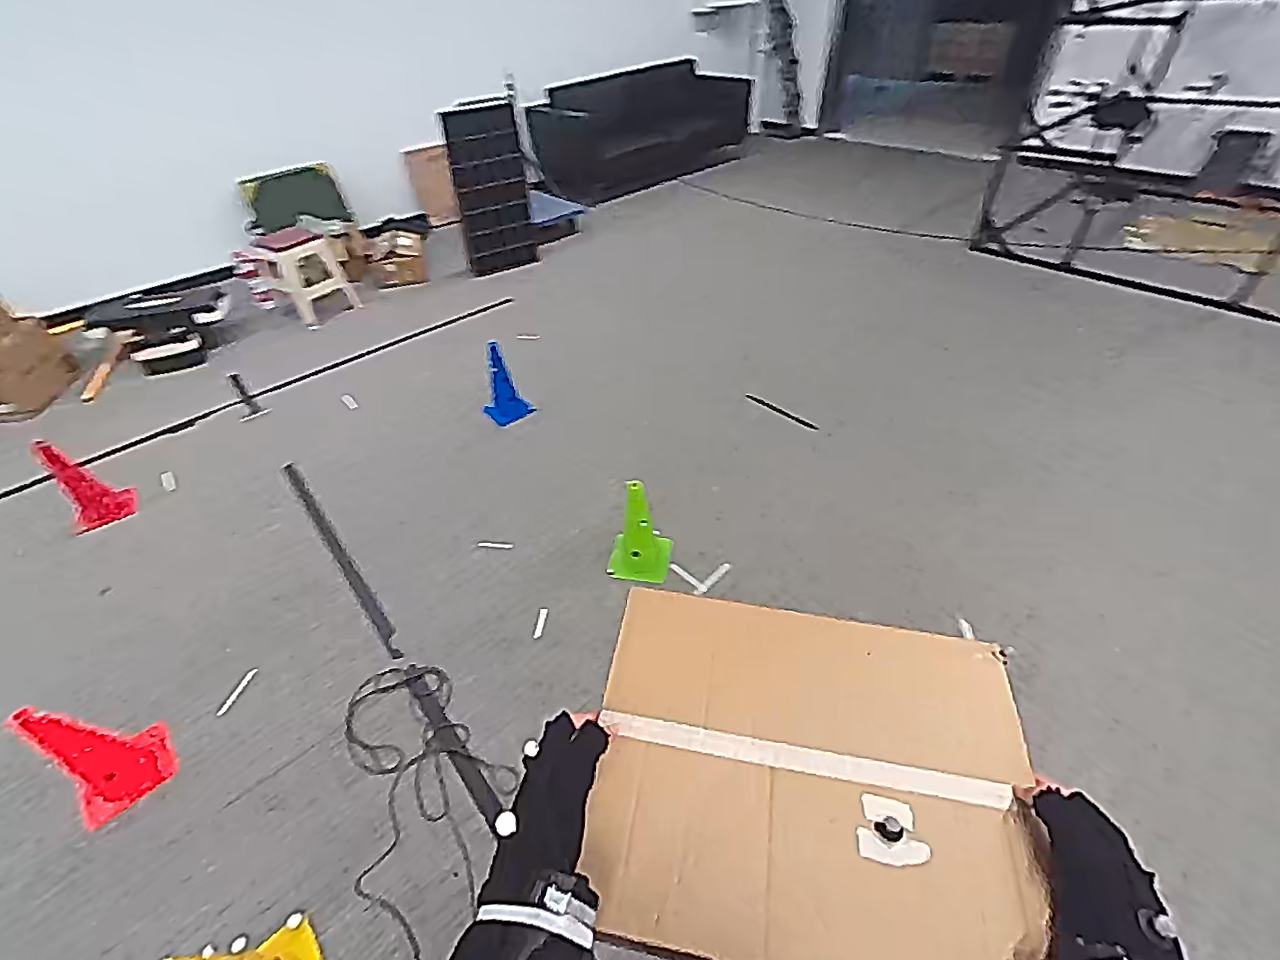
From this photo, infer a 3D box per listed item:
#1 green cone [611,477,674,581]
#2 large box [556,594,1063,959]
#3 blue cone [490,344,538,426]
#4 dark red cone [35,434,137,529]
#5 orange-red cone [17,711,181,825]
[{"bbox_3d":[0.003,0.142,1.792,0.200,0.368,0.202,6,42,9],"label":"green cone"},{"bbox_3d":[0.148,0.366,0.625,0.408,0.320,0.320,7,48,7],"label":"large box"},{"bbox_3d":[-0.625,-0.456,2.518,0.192,0.380,0.193,-29,48,-26],"label":"blue cone"},{"bbox_3d":[-2.180,-0.011,2.099,0.201,0.394,0.202,-27,47,-25],"label":"dark red cone"},{"bbox_3d":[-1.370,0.664,1.338,0.198,0.360,0.199,-36,52,-28],"label":"orange-red cone"}]
